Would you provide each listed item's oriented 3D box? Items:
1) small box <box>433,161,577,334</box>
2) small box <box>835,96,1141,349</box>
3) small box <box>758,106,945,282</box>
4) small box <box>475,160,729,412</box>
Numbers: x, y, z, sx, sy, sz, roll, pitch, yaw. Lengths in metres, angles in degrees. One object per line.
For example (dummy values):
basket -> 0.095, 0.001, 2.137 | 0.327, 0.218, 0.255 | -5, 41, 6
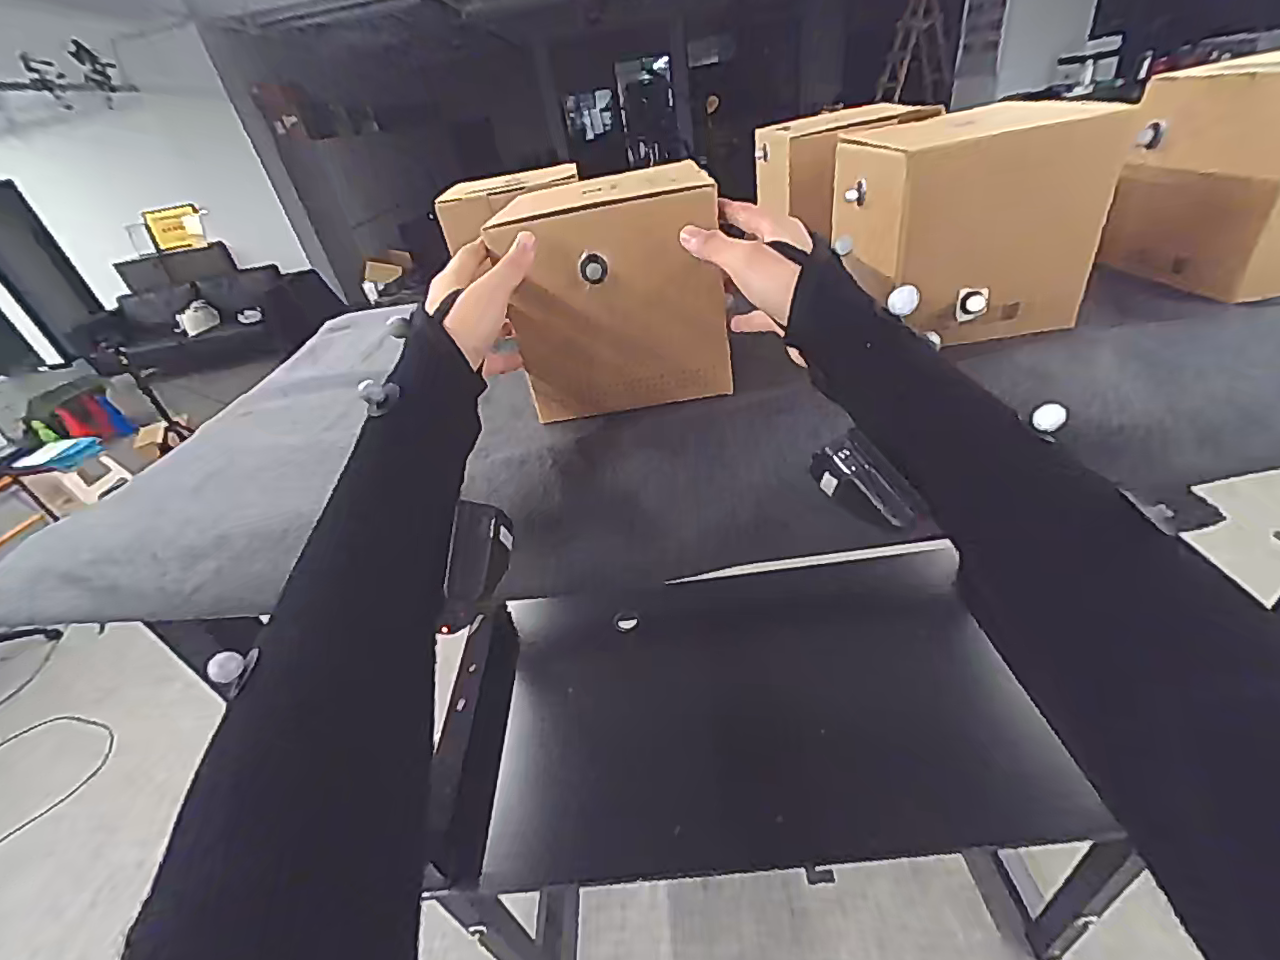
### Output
small box -> -0.147, -0.303, 0.713 | 0.168, 0.176, 0.179 | -11, 35, 0
small box -> 0.287, -0.237, 0.502 | 0.168, 0.176, 0.179 | -9, 34, 5
small box -> 0.254, -0.370, 0.700 | 0.179, 0.176, 0.168 | -8, 34, 2
small box -> -0.021, -0.174, 0.490 | 0.179, 0.176, 0.168 | -8, 35, 5
